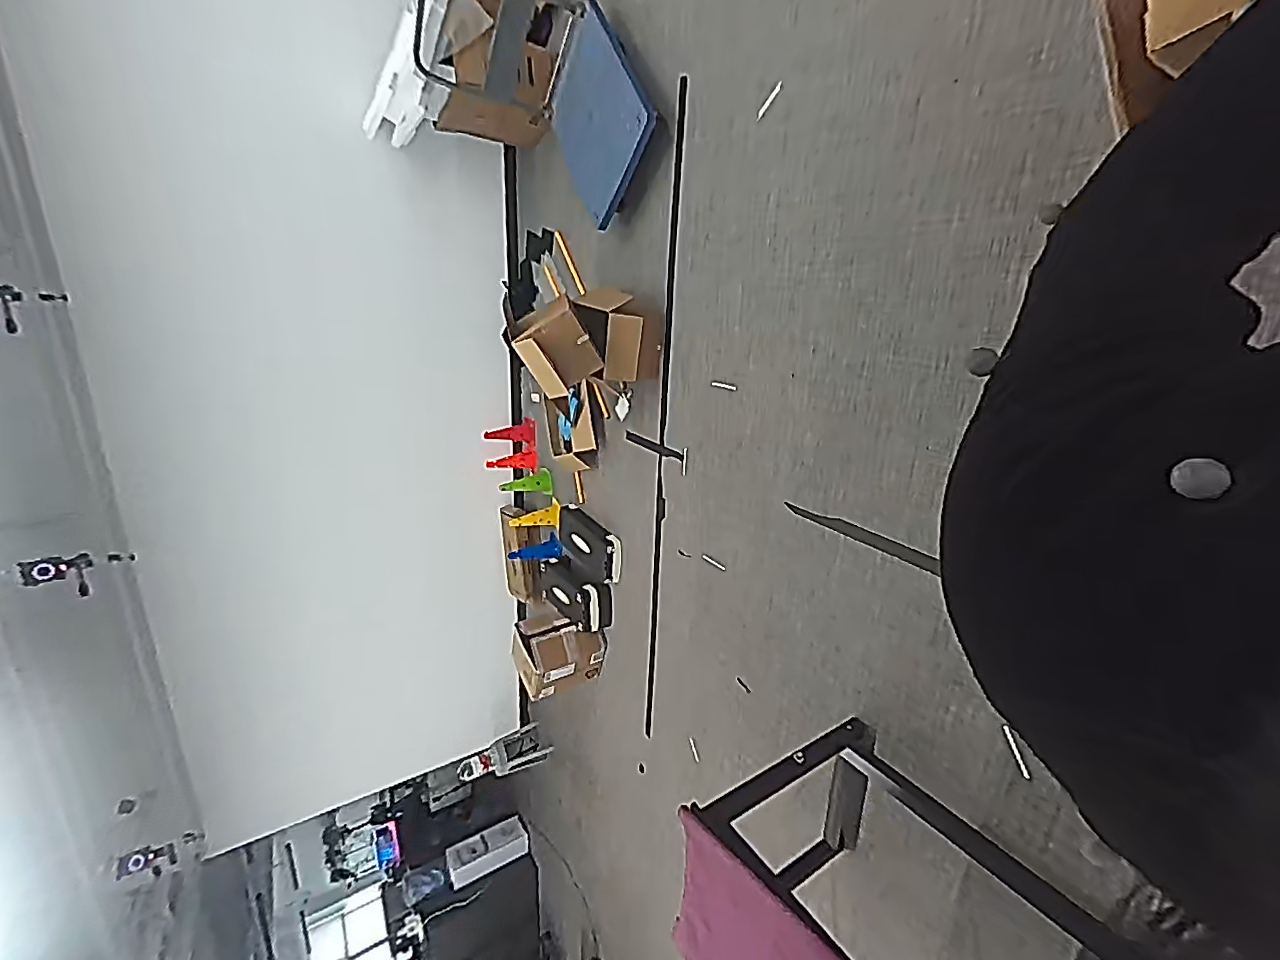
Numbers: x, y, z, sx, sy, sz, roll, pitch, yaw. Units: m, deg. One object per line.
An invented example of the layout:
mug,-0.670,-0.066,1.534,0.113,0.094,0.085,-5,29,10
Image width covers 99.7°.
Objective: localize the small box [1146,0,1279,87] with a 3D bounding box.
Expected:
small box,0.474,-0.408,0.357,0.179,0.176,0.168,-1,97,59
